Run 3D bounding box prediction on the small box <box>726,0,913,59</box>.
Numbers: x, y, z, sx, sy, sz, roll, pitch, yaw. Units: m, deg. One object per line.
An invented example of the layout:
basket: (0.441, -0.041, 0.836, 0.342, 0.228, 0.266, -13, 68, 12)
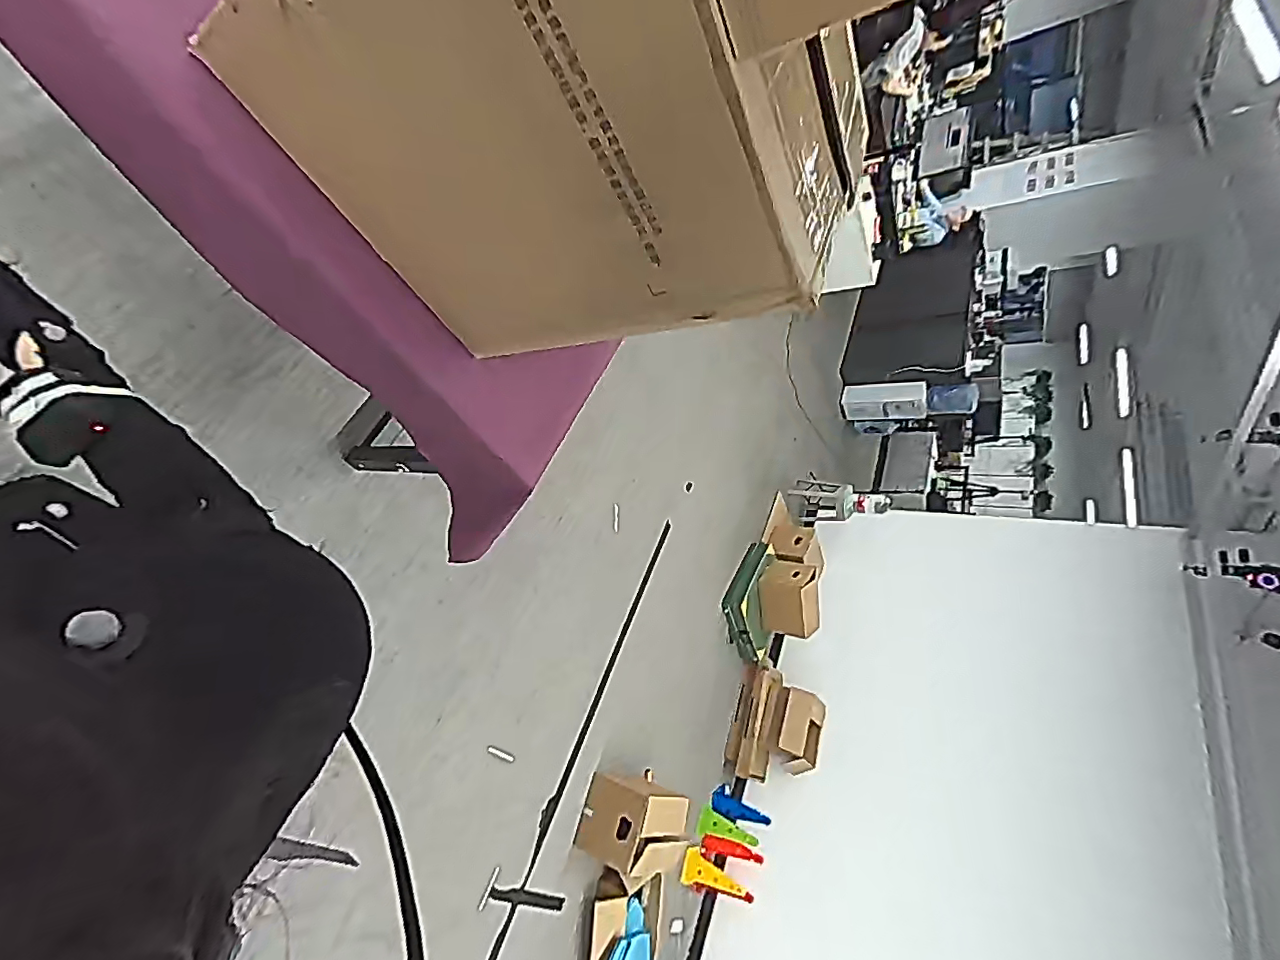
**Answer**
small box: (0.150, -0.463, 0.397, 0.168, 0.176, 0.179, 53, 50, -44)
